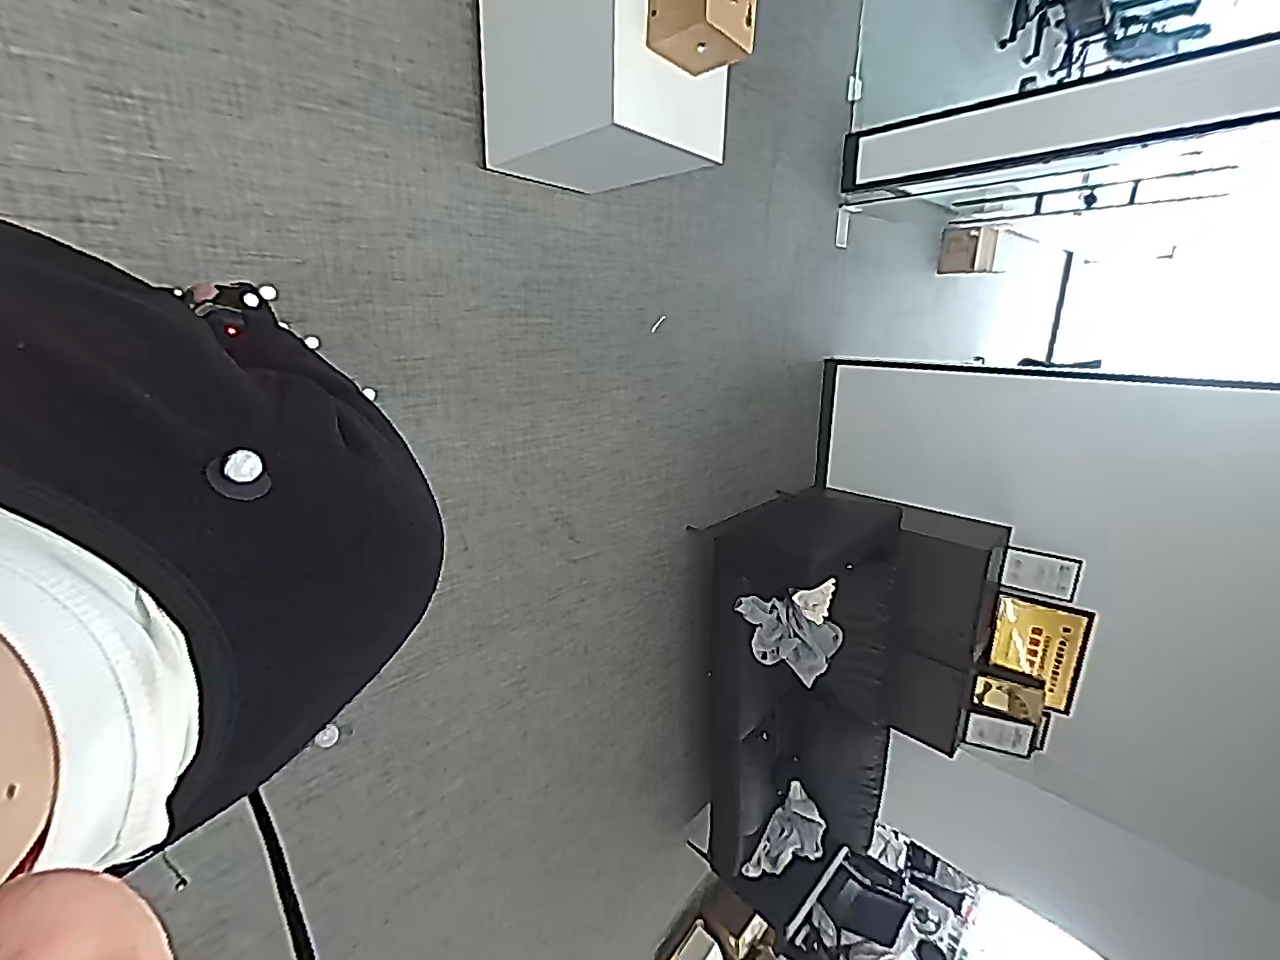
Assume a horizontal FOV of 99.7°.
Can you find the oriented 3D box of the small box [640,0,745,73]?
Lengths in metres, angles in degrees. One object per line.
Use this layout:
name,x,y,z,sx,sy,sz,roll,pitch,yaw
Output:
small box,0.115,-1.045,1.202,0.179,0.176,0.168,-15,112,-45
